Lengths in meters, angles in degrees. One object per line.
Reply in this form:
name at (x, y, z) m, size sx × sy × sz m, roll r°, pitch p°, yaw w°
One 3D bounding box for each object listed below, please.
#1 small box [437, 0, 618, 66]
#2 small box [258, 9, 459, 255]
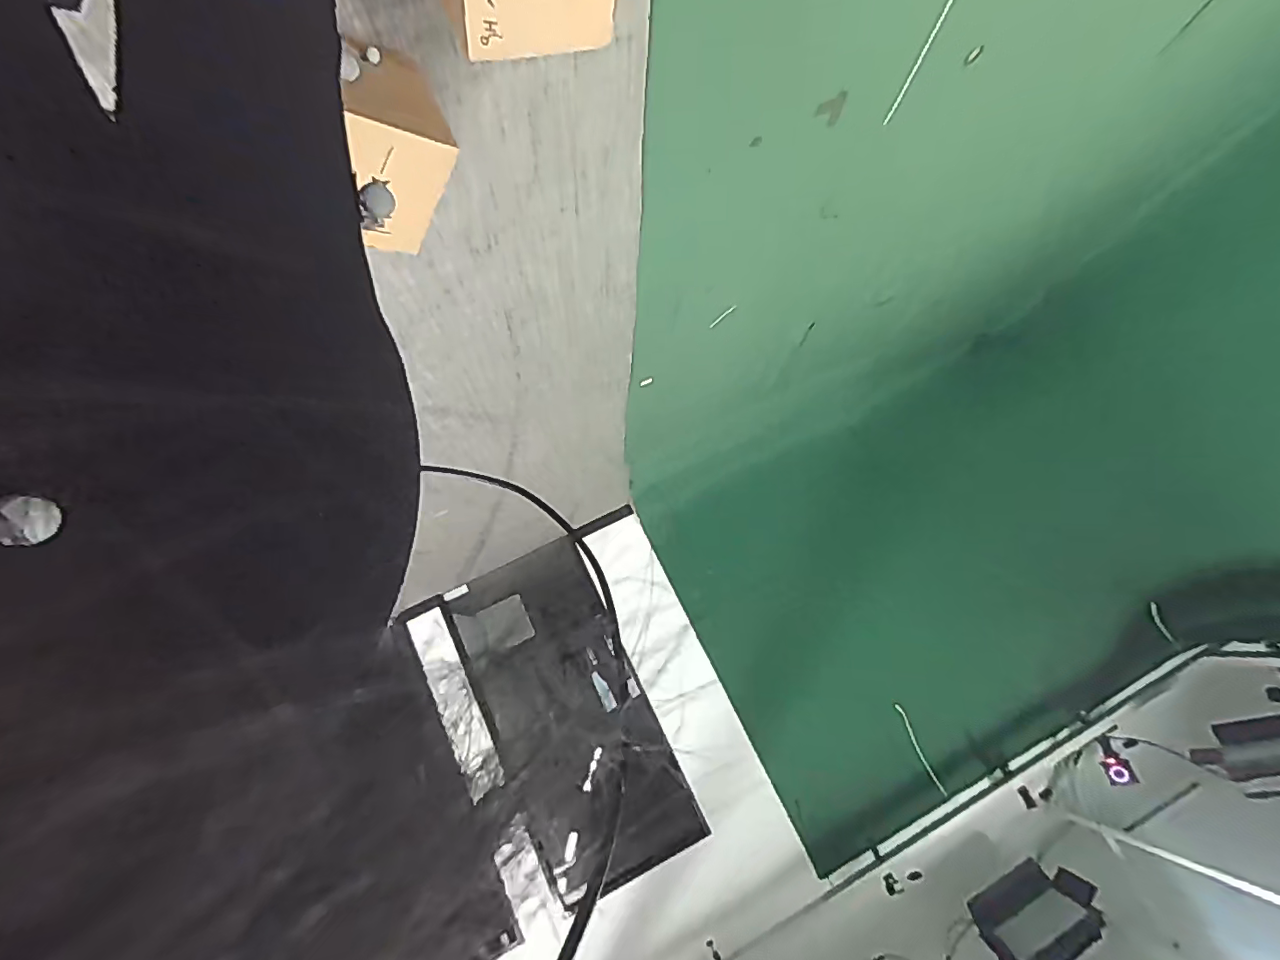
small box at (-0.130, -0.580, 0.561) m, size 0.179 × 0.176 × 0.168 m, roll -22°, pitch 166°, yaw -19°
small box at (-0.364, -0.428, 0.691) m, size 0.168 × 0.176 × 0.179 m, roll -12°, pitch 159°, yaw -47°
